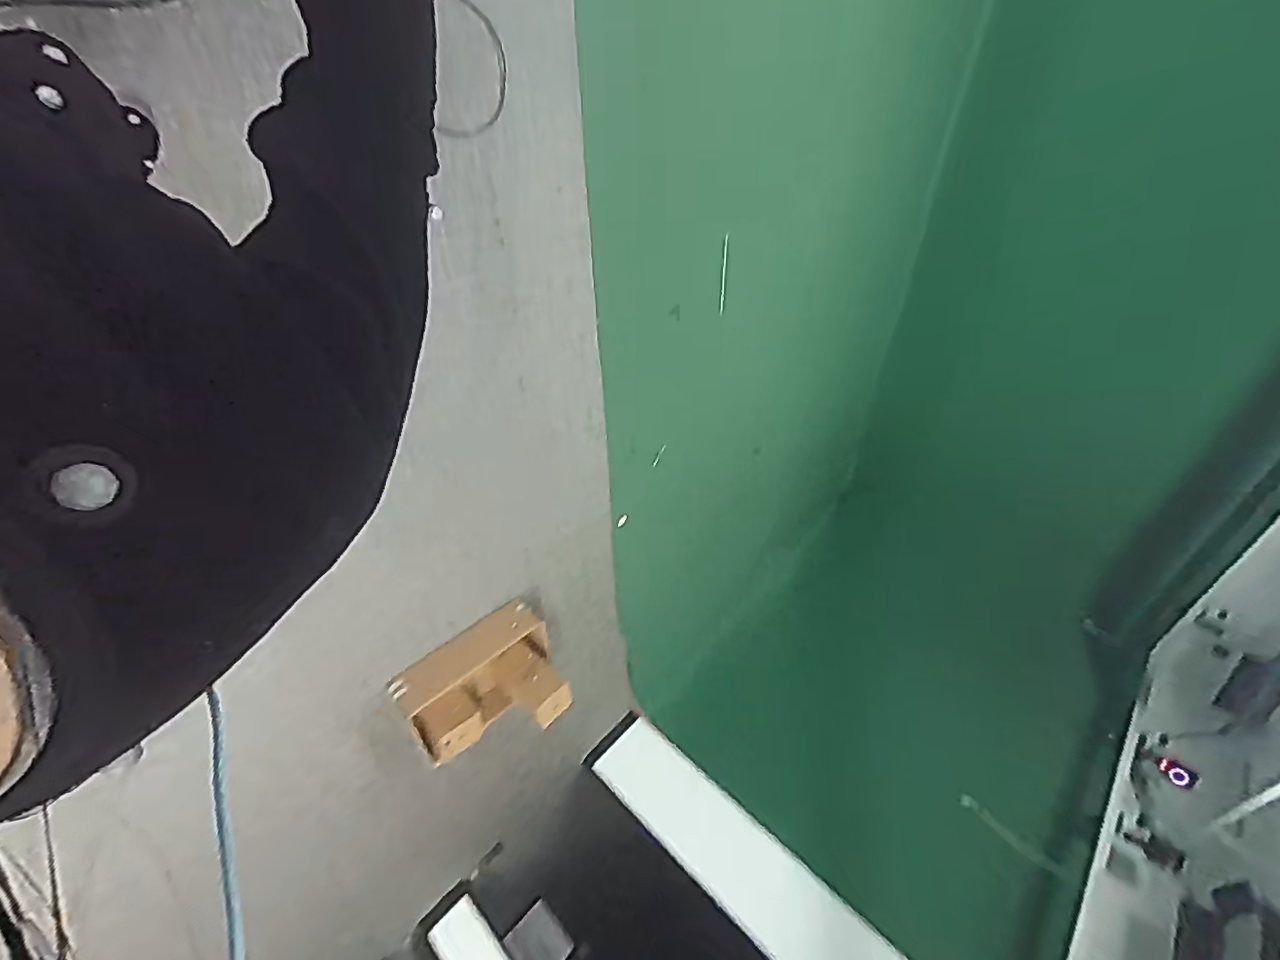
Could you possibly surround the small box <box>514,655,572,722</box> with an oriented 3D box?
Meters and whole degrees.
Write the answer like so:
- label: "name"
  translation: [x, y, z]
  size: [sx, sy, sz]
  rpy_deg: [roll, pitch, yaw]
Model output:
- label: "small box"
  translation: [-0.417, 0.889, 2.317]
  size: [0.168, 0.176, 0.179]
  rpy_deg: [-35, 139, -33]
